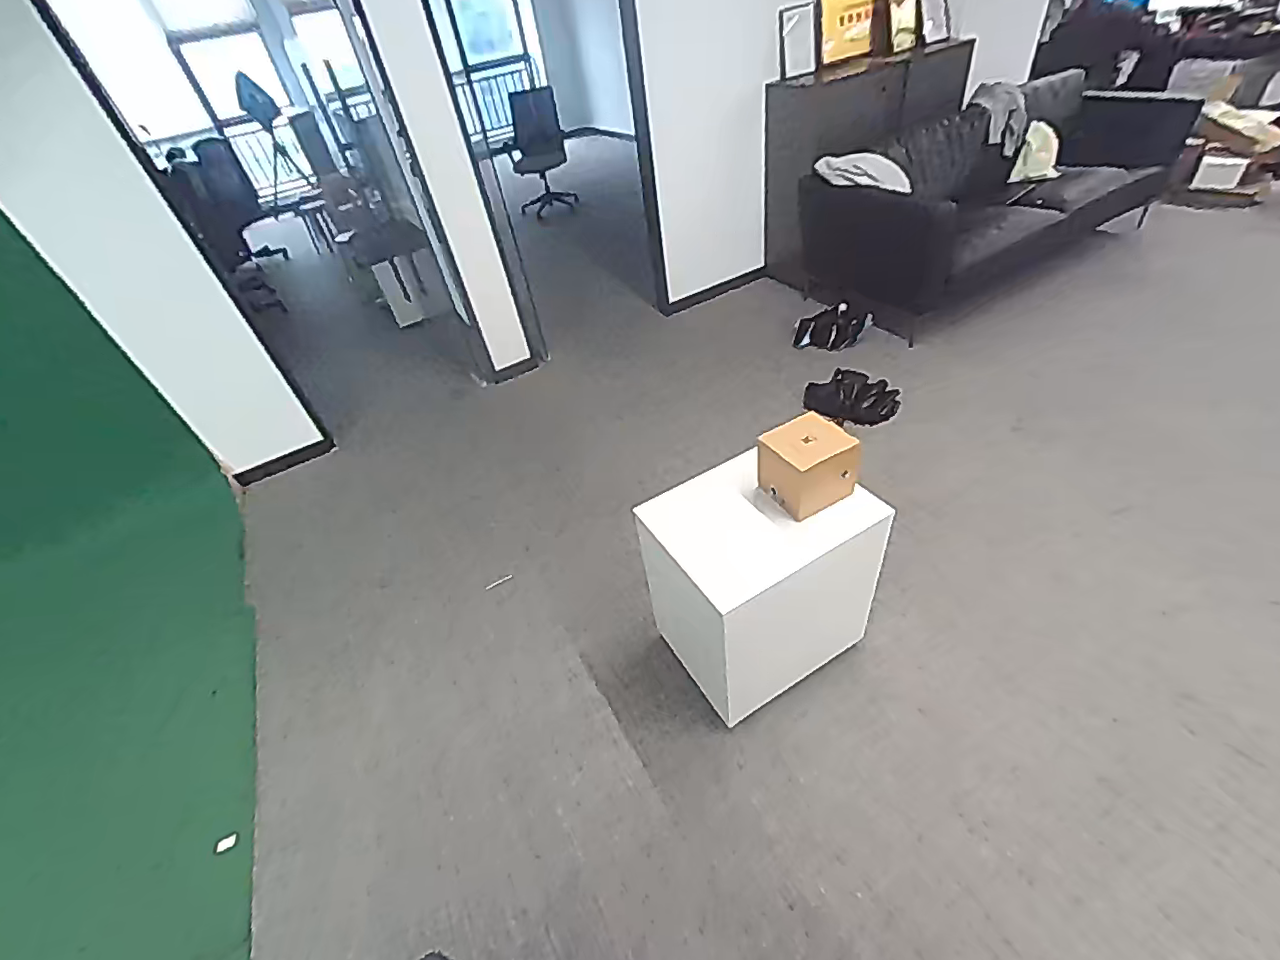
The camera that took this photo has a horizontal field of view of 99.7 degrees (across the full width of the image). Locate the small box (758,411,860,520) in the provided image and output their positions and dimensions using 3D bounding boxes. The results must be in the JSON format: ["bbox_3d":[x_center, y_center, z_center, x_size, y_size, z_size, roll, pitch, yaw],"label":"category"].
[{"bbox_3d":[0.404,-0.035,1.319,0.179,0.176,0.168,-26,43,-15],"label":"small box"}]
